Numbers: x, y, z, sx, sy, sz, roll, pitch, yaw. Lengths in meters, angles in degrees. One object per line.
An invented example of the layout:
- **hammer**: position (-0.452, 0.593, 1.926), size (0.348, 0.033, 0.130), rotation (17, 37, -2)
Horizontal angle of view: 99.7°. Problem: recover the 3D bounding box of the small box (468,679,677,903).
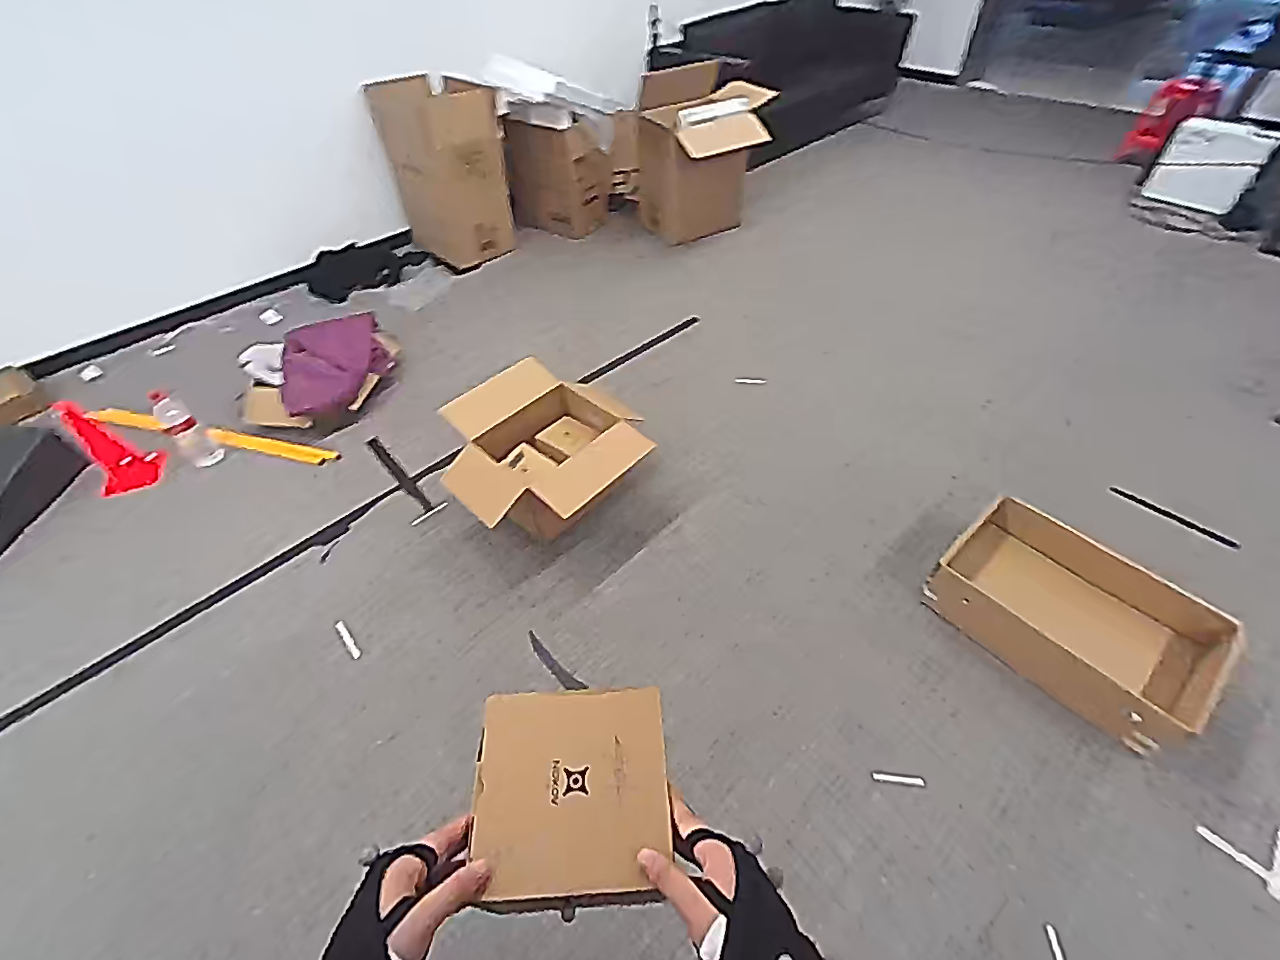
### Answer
- **small box**: position (-0.059, 0.319, 0.553), size (0.179, 0.176, 0.168), rotation (-2, 49, -3)
